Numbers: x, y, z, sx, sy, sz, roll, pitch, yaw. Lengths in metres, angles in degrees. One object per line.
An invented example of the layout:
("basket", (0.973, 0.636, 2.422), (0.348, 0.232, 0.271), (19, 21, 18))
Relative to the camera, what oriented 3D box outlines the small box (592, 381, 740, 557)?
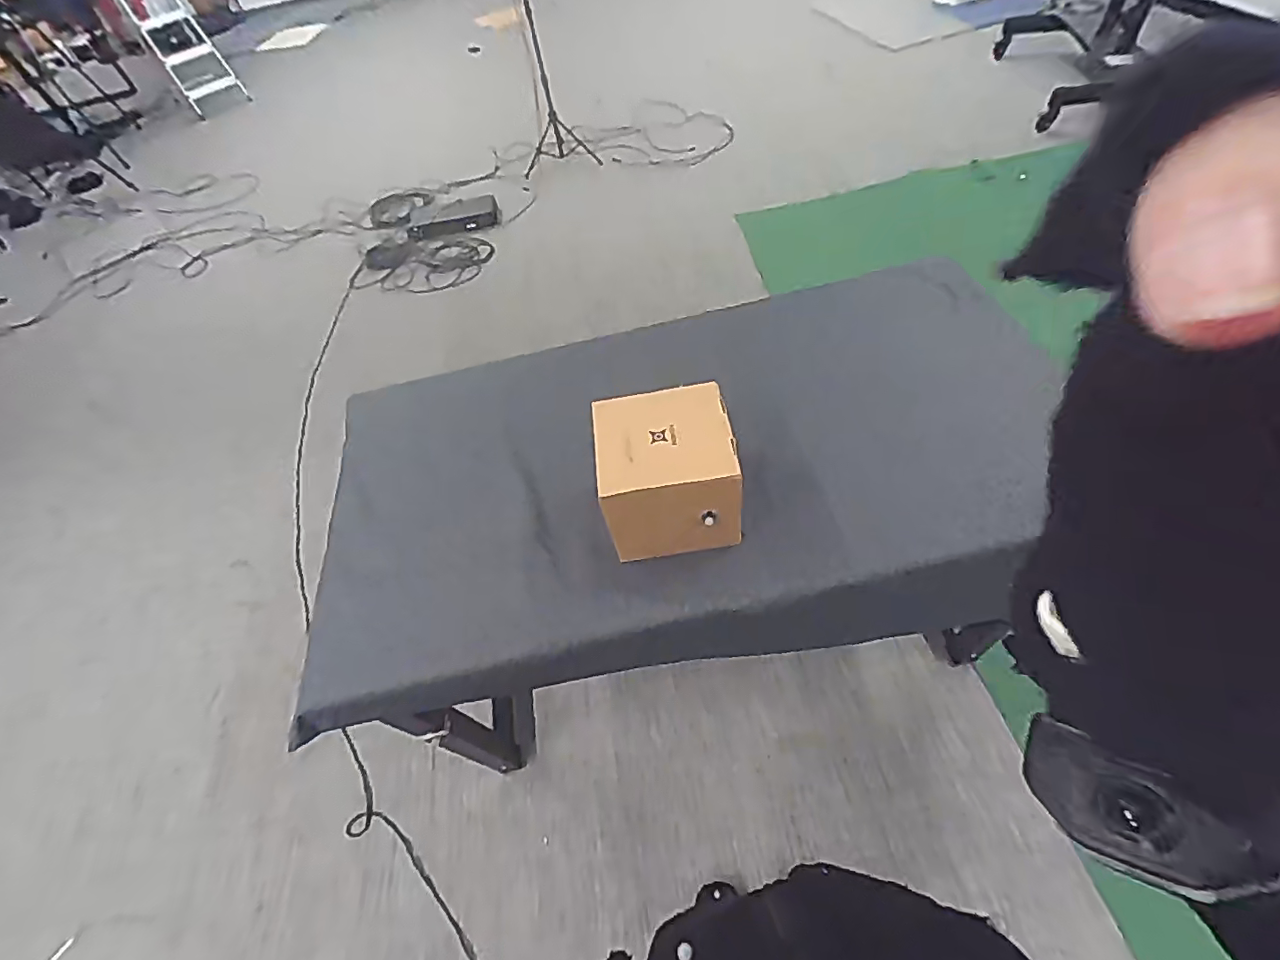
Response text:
("small box", (0.037, -0.010, 0.759), (0.179, 0.176, 0.168), (-10, 52, 3))
